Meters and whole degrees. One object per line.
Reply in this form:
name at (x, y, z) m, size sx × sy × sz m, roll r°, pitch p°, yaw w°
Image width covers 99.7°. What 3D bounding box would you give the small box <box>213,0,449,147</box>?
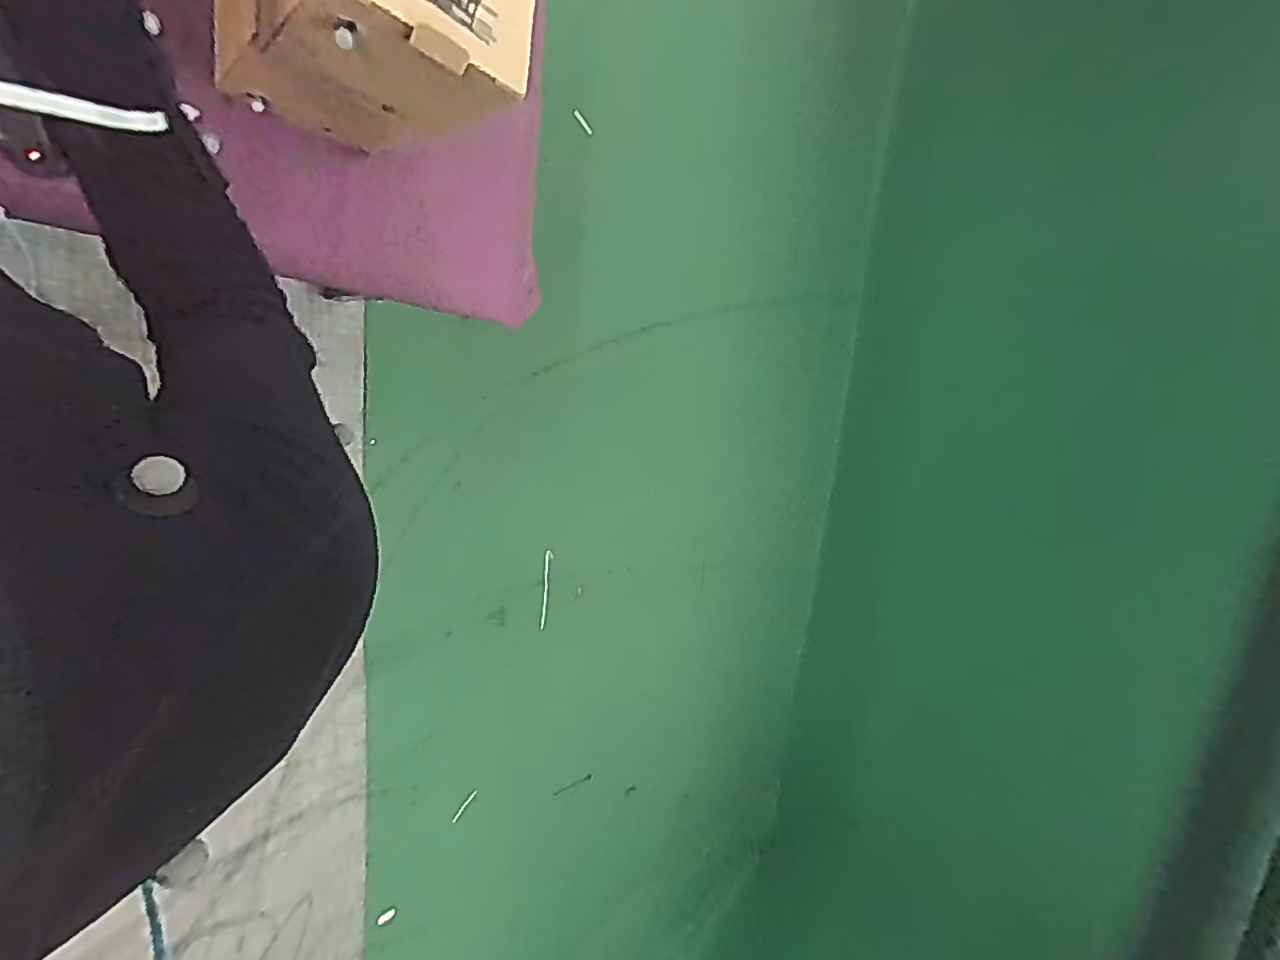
small box at (-0.323, -0.483, 0.566) m, size 0.168 × 0.176 × 0.179 m, roll 1°, pitch 101°, yaw -51°
